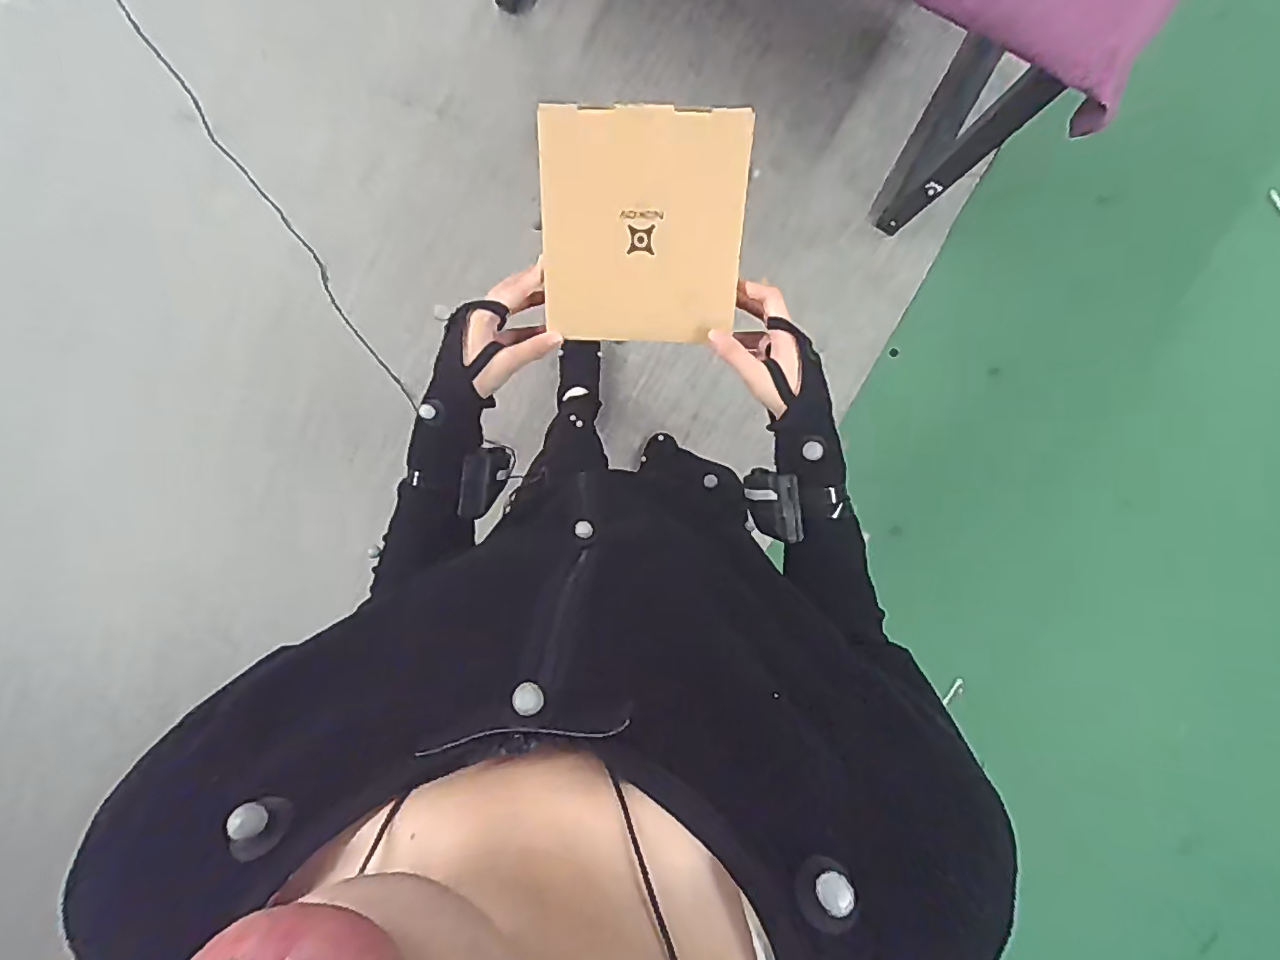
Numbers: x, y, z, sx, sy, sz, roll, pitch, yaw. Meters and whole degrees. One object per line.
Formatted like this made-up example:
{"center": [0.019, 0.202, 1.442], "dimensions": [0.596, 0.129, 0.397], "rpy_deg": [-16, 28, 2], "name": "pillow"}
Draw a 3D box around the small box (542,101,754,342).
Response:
{"center": [0.006, -0.236, 0.516], "dimensions": [0.168, 0.176, 0.179], "rpy_deg": [2, 113, 1], "name": "small box"}
